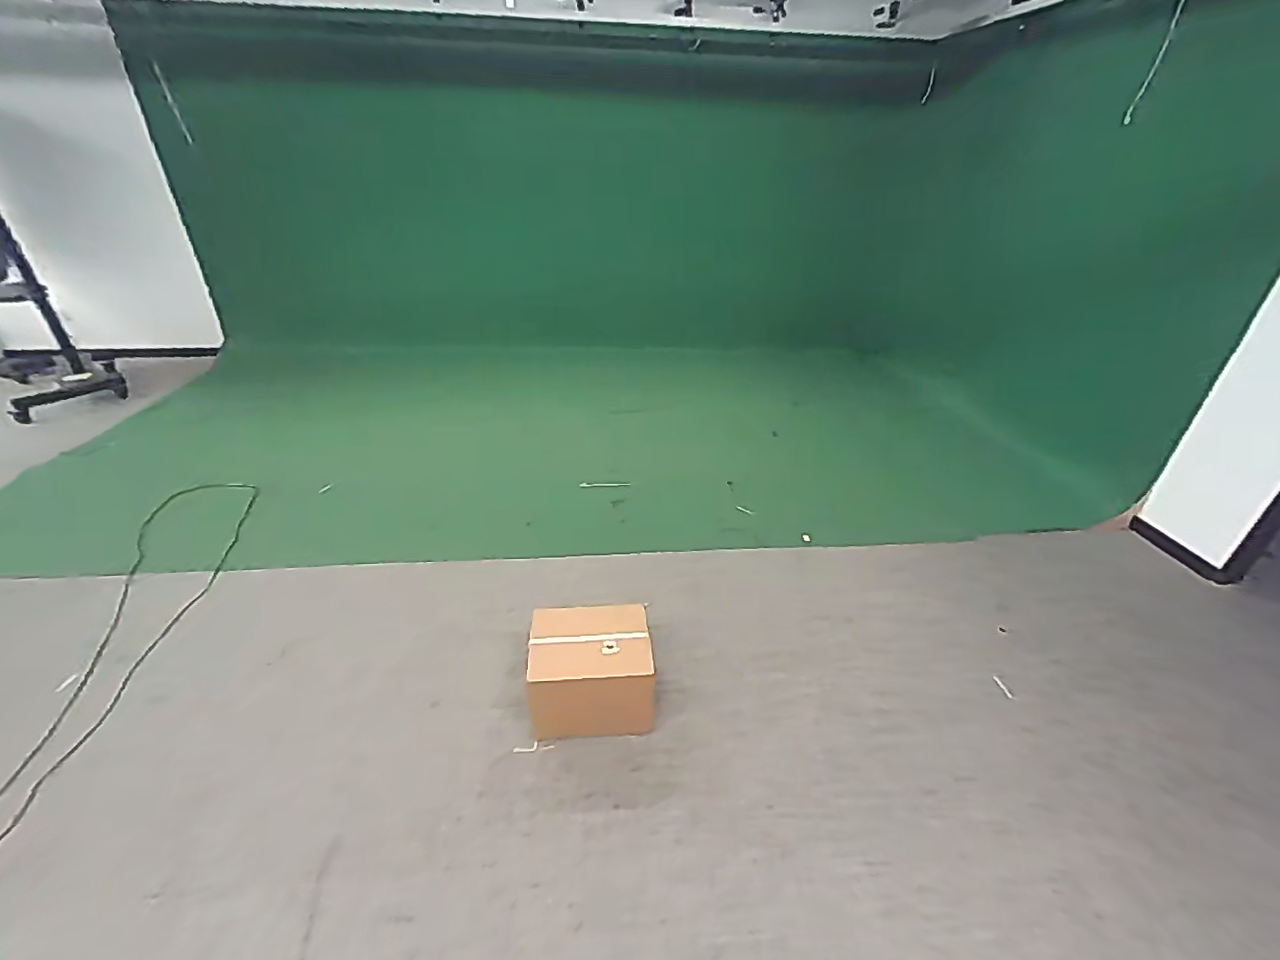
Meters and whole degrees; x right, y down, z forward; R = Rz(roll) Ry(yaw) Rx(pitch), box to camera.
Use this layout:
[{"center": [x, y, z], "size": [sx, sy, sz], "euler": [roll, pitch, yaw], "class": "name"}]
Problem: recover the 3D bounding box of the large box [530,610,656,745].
[{"center": [-0.165, 0.682, 1.888], "size": [0.408, 0.320, 0.320], "euler": [-1, 31, -5], "class": "large box"}]
